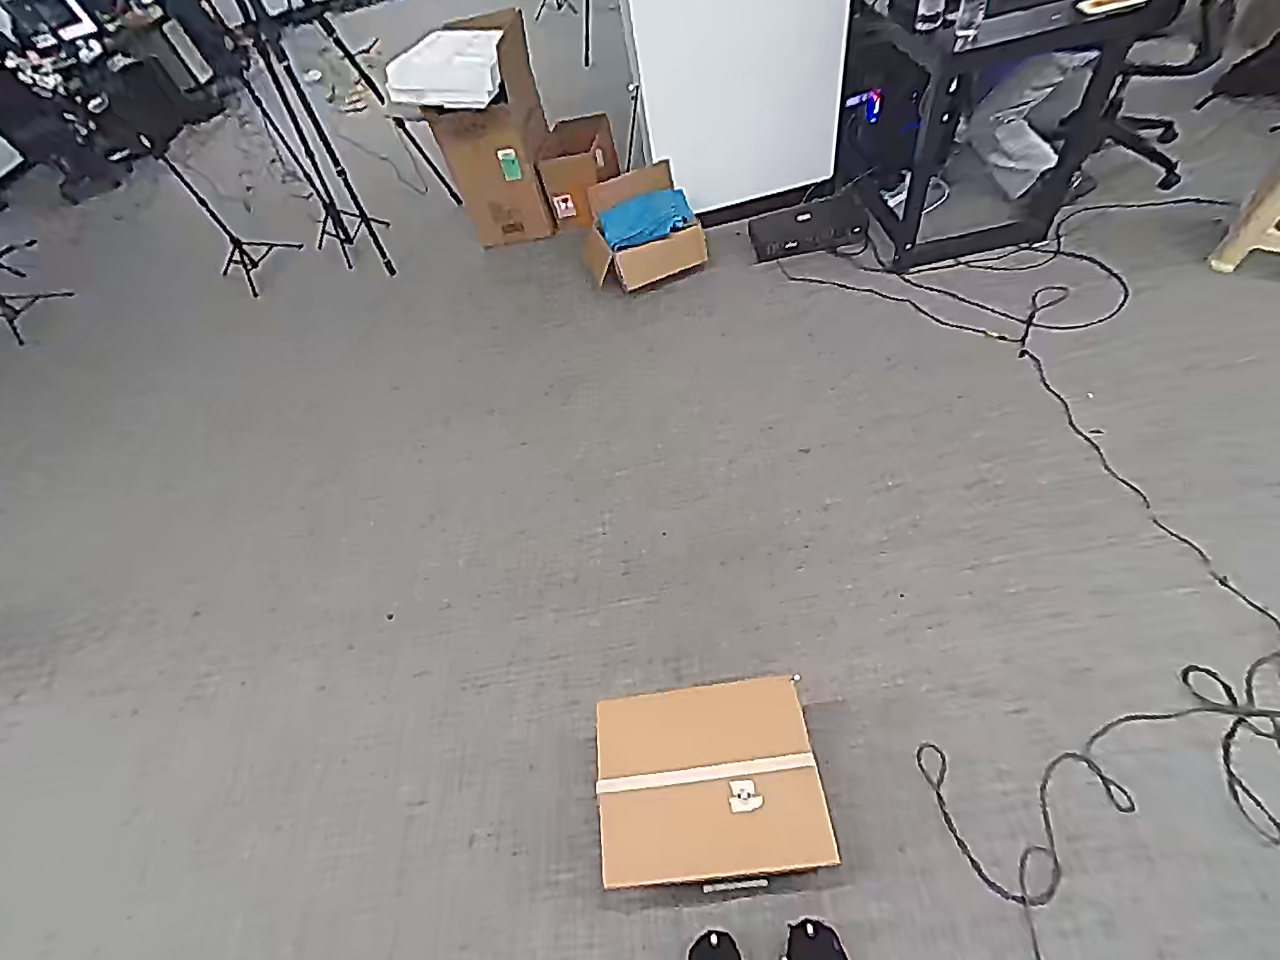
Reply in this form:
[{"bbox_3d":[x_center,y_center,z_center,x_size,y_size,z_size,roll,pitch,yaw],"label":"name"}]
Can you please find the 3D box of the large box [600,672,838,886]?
[{"bbox_3d":[0.150,0.629,1.124,0.408,0.320,0.320,-10,53,5],"label":"large box"}]
